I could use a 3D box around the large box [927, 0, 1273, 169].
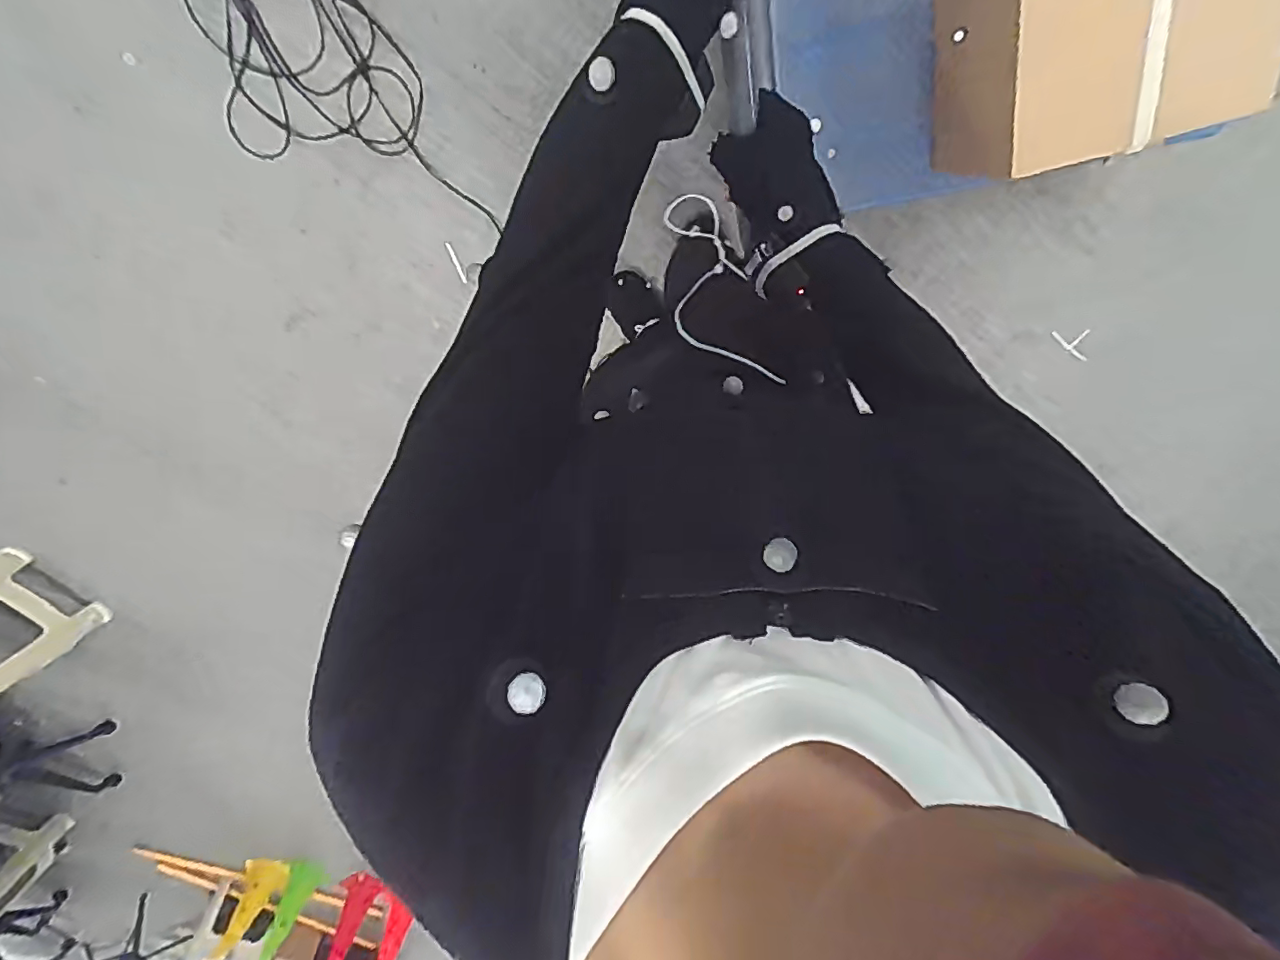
[{"bbox_3d":[0.637,-0.729,0.795,0.320,0.320,0.408,-12,118,13],"label":"large box"}]
